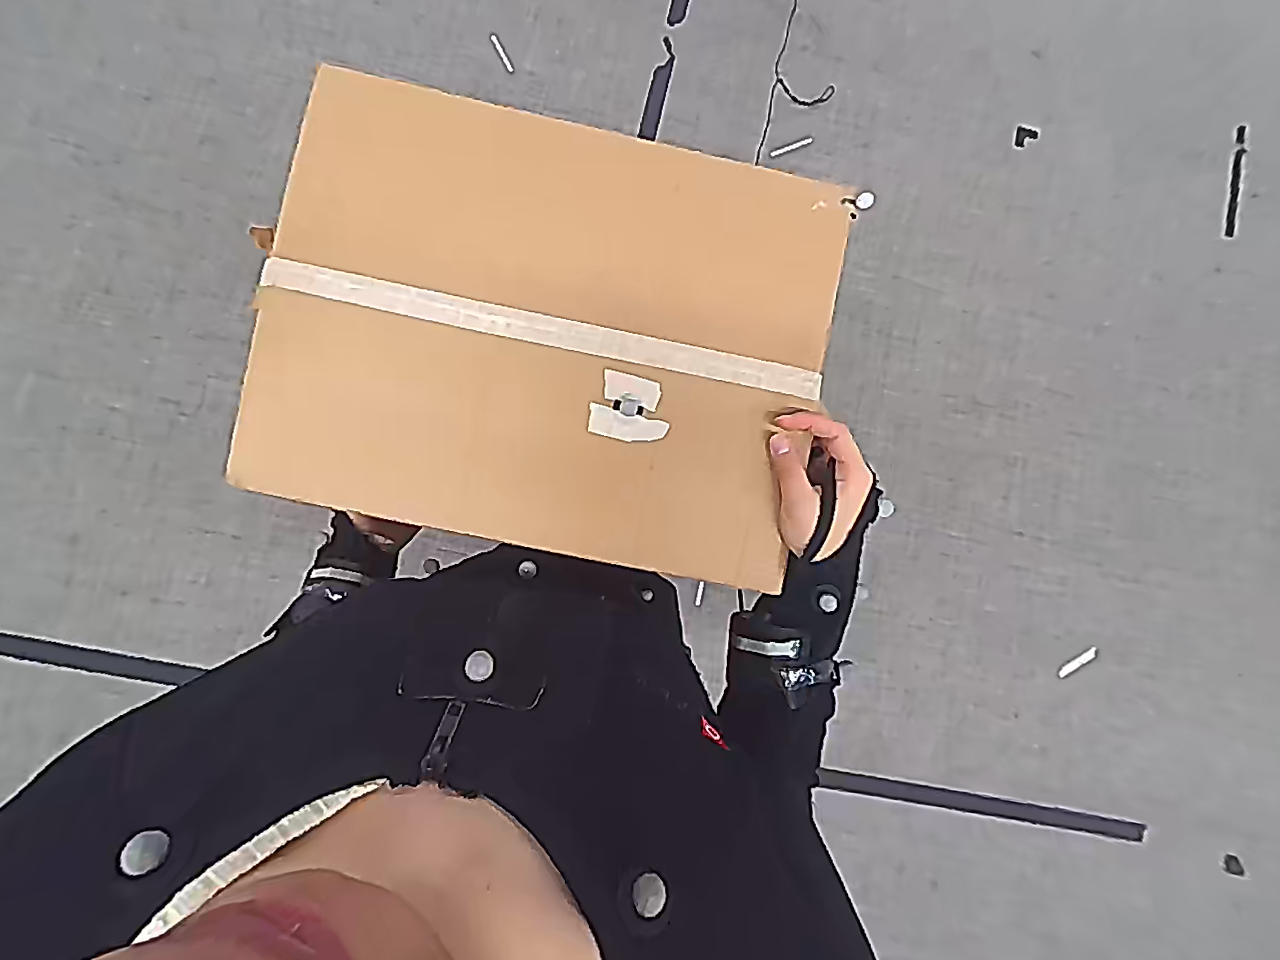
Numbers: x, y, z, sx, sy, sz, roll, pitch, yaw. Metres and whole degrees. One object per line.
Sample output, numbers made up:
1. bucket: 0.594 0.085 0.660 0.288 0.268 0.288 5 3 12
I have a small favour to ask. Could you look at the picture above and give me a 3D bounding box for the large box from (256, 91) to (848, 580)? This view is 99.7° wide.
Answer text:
1. large box: -0.068 -0.102 0.553 0.408 0.320 0.320 11 89 -4
